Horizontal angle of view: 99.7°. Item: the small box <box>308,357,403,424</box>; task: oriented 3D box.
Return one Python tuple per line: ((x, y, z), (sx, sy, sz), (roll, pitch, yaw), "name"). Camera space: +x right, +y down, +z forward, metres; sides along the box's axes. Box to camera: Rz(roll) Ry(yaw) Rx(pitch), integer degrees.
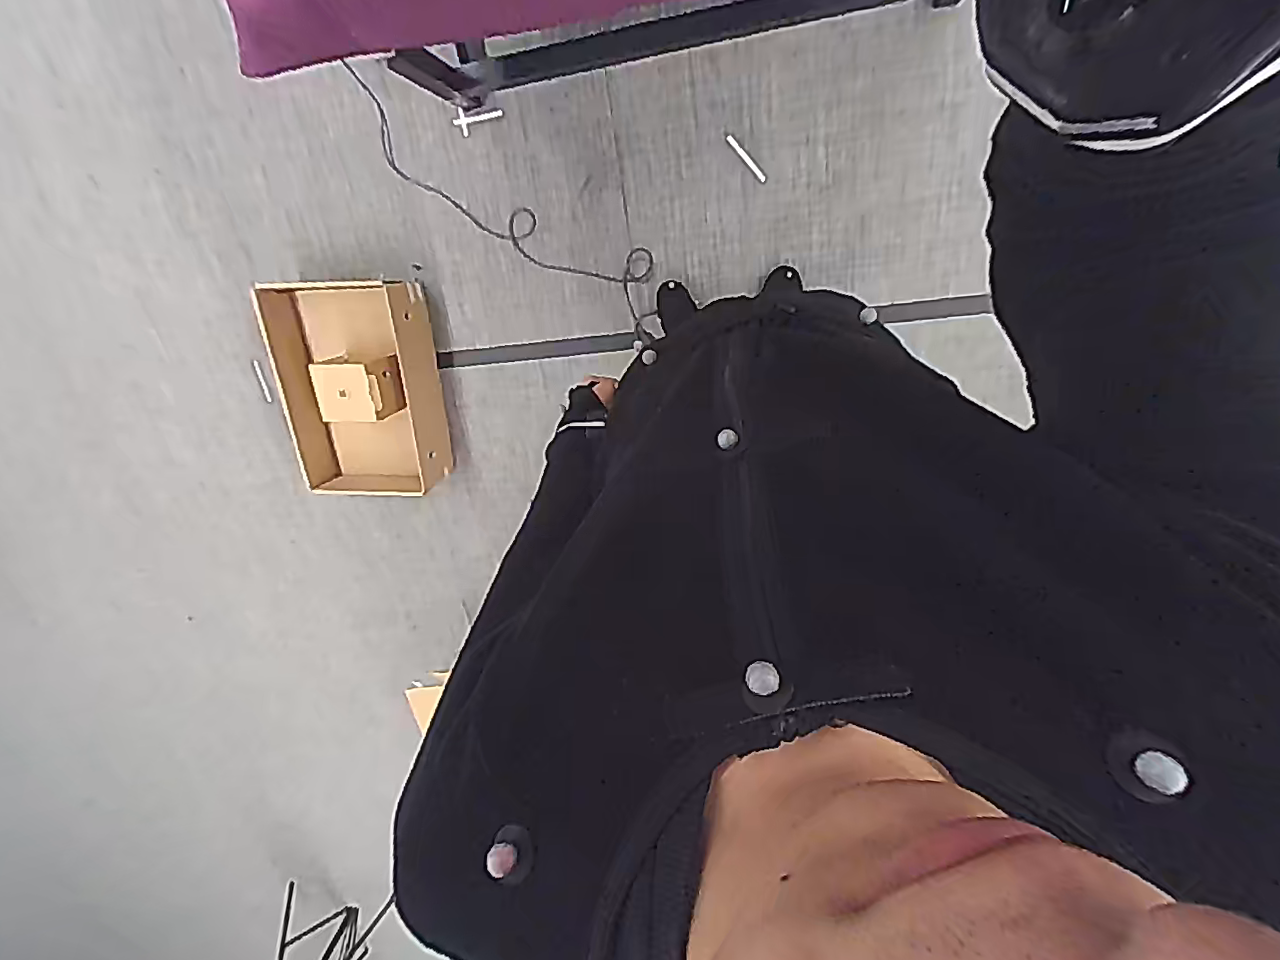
((-0.819, -0.266, 1.583), (0.179, 0.176, 0.168), (1, 112, 8), "small box")
